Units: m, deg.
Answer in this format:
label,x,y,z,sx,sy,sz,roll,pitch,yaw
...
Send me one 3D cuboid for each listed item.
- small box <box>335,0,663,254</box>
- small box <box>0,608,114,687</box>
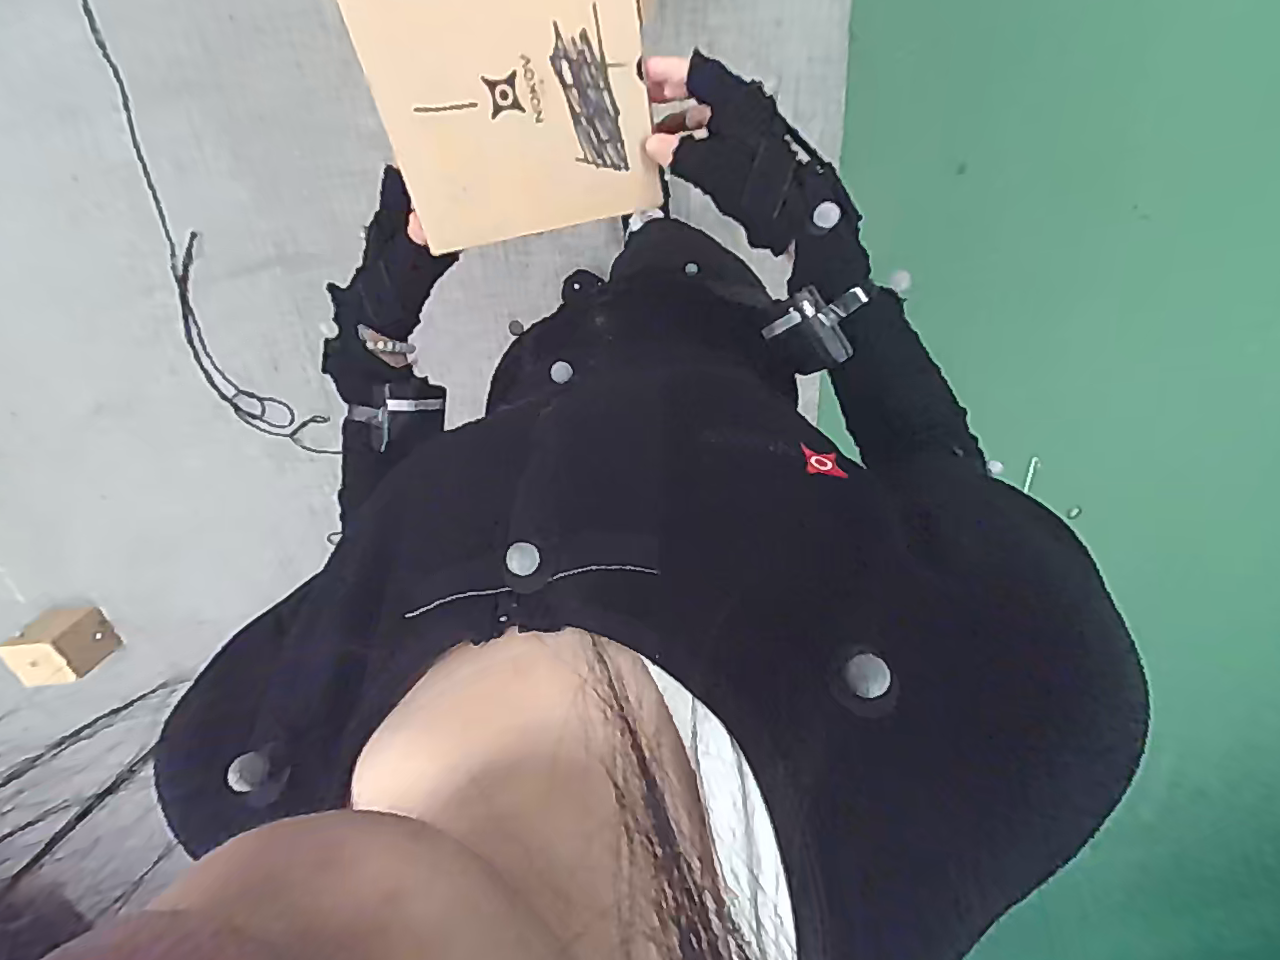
label,x,y,z,sx,sy,sz,roll,pitch,yaw
small box,-0.094,-0.290,0.403,0.179,0.176,0.168,-14,127,-4
small box,-1.837,0.522,1.695,0.179,0.176,0.168,-6,117,1
